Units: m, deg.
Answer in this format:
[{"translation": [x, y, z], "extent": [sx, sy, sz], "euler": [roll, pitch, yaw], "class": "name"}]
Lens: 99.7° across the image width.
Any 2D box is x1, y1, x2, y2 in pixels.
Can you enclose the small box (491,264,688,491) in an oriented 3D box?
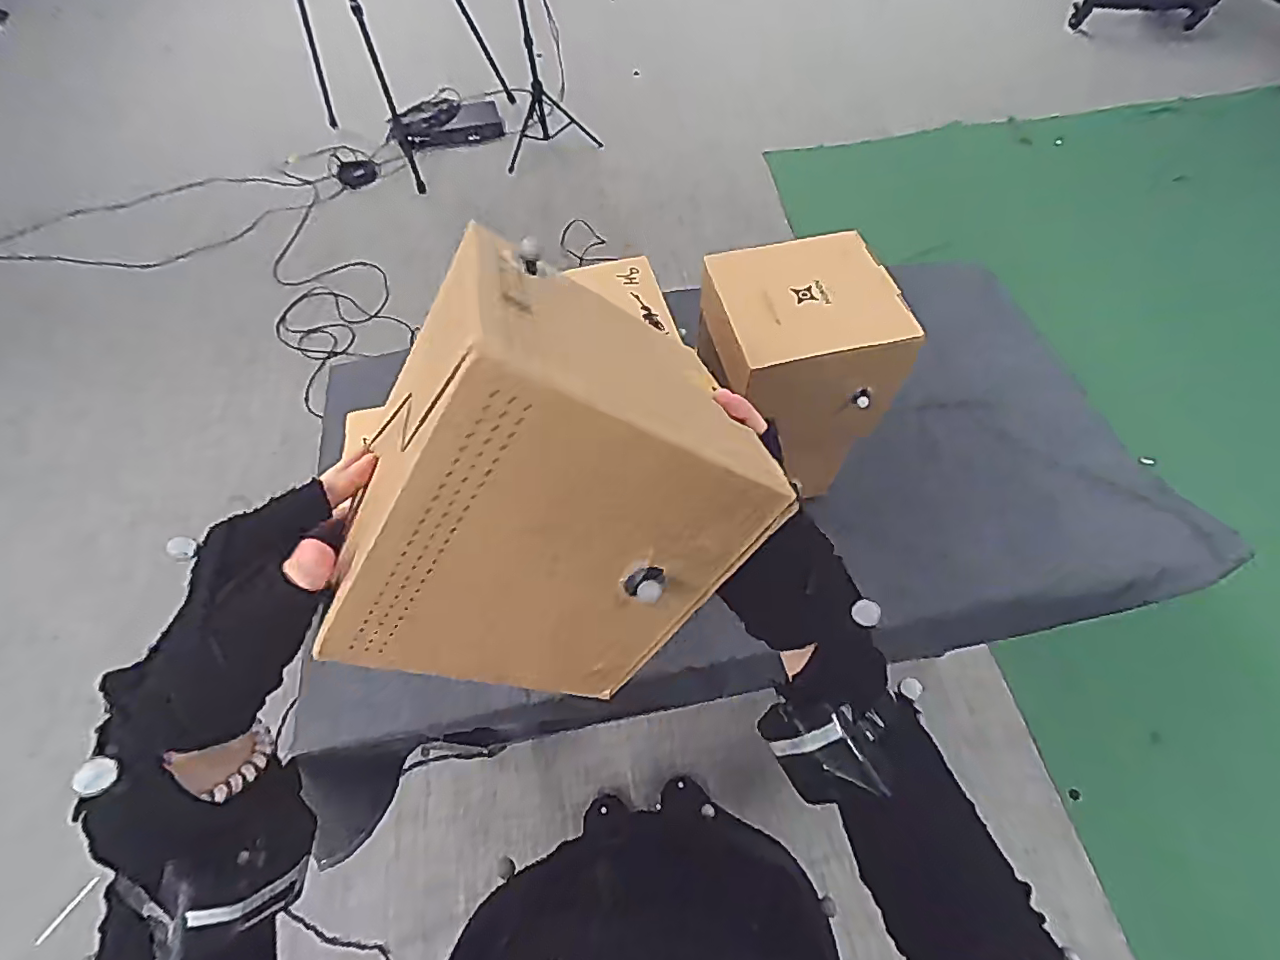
[{"translation": [-0.051, -0.106, 0.611], "extent": [0.179, 0.176, 0.168], "euler": [-15, 62, -5], "class": "small box"}]
